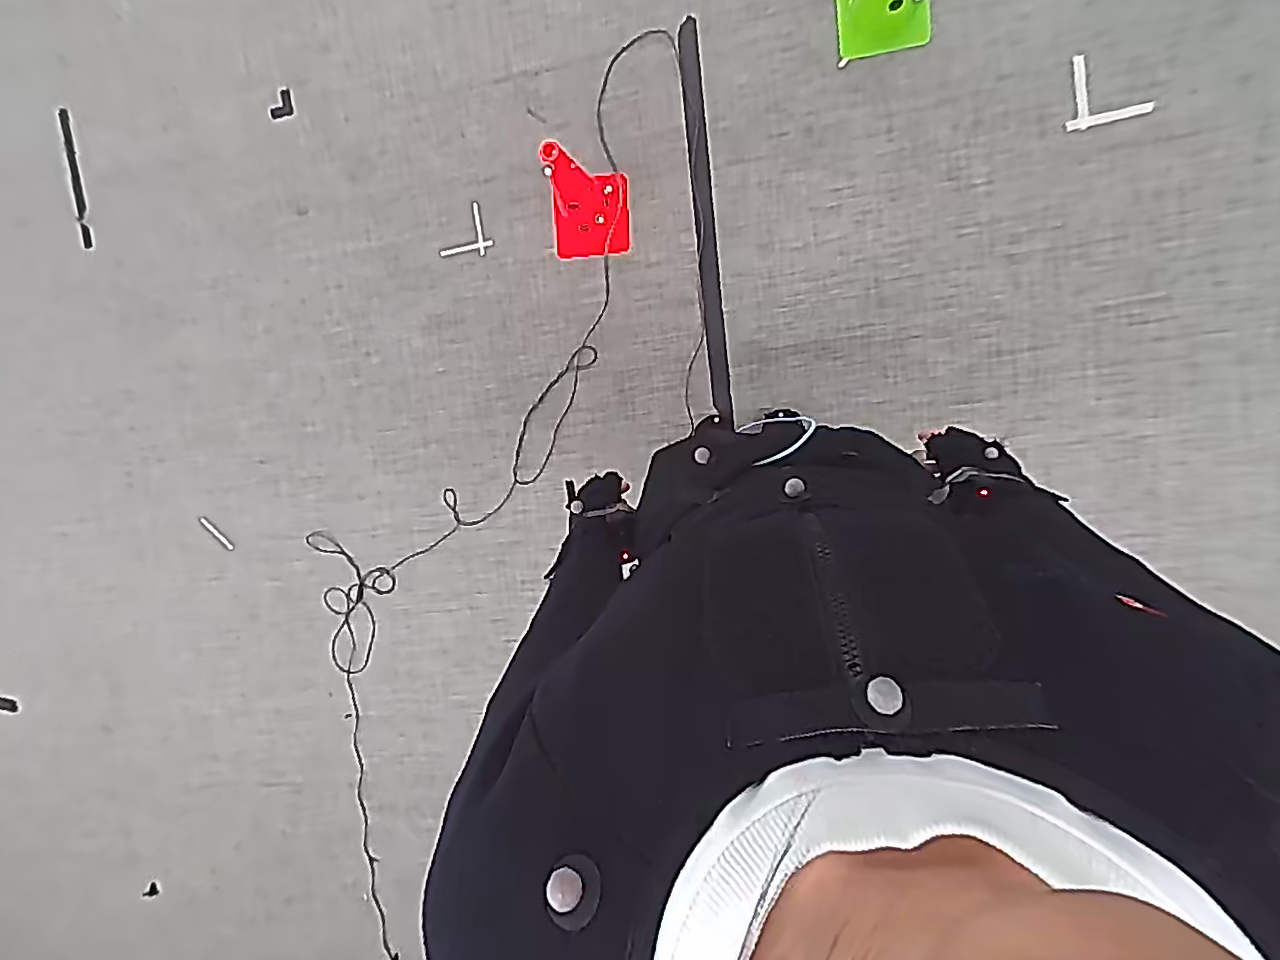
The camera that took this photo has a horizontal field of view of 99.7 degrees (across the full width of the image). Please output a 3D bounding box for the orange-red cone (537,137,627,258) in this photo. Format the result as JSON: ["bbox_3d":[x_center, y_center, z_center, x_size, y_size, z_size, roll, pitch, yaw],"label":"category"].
[{"bbox_3d":[-0.158,-0.666,1.230,0.199,0.360,0.198,-1,95,10],"label":"orange-red cone"}]

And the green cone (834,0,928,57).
[{"bbox_3d":[0.530,-1.072,1.074,0.202,0.368,0.200,-6,96,8],"label":"green cone"}]
